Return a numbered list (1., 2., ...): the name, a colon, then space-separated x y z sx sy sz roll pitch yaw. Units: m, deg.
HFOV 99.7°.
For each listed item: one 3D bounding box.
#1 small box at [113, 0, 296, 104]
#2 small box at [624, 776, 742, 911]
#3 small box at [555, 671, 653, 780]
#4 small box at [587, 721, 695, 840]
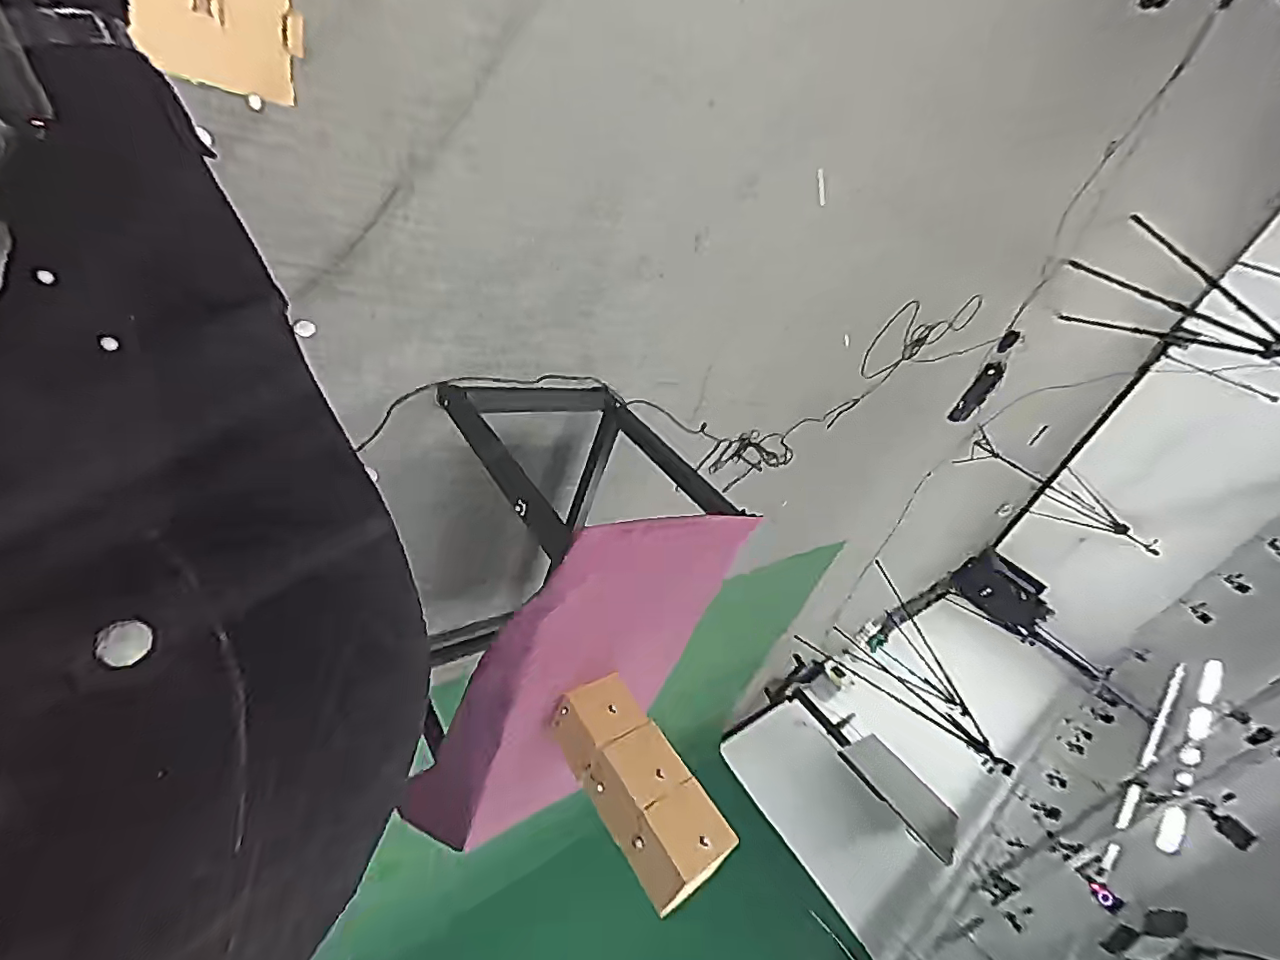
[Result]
1. small box: -0.561 -0.615 0.693 0.179 0.176 0.168 -10 132 -39
2. small box: 0.096 0.831 1.255 0.179 0.176 0.168 -7 129 -41
3. small box: -0.102 0.643 1.436 0.179 0.176 0.168 -7 130 -42
4. small box: -0.001 0.736 1.346 0.179 0.176 0.168 -6 129 -41
